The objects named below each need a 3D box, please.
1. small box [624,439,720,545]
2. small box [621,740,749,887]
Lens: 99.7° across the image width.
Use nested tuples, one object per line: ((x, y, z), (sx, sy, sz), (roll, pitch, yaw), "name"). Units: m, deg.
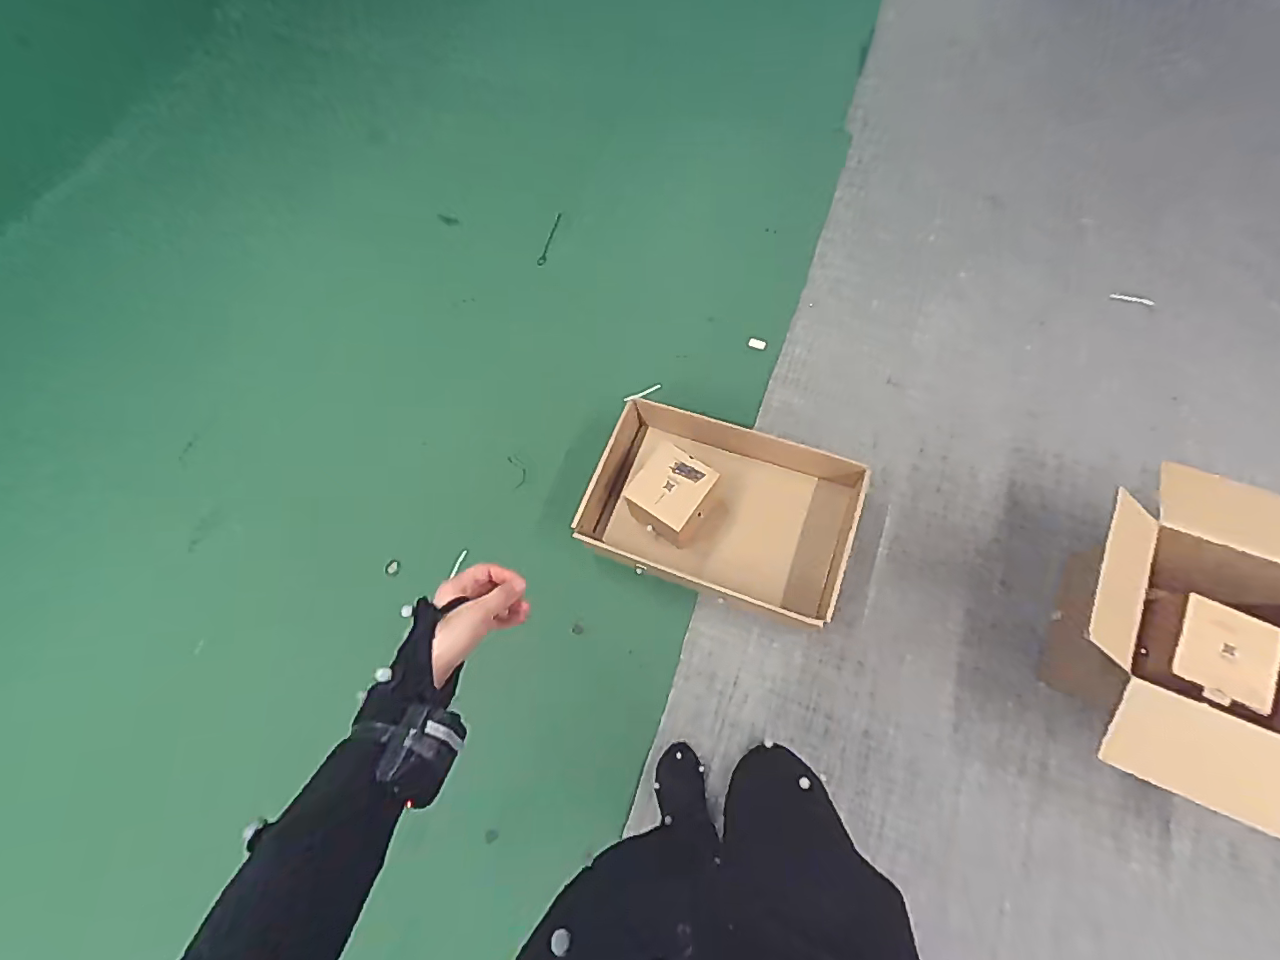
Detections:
((0.081, 0.034, 1.345), (0.168, 0.176, 0.179), (33, 76, 17), "small box")
((0.100, 0.684, 1.127), (0.179, 0.168, 0.176), (-39, 97, -33), "small box")
